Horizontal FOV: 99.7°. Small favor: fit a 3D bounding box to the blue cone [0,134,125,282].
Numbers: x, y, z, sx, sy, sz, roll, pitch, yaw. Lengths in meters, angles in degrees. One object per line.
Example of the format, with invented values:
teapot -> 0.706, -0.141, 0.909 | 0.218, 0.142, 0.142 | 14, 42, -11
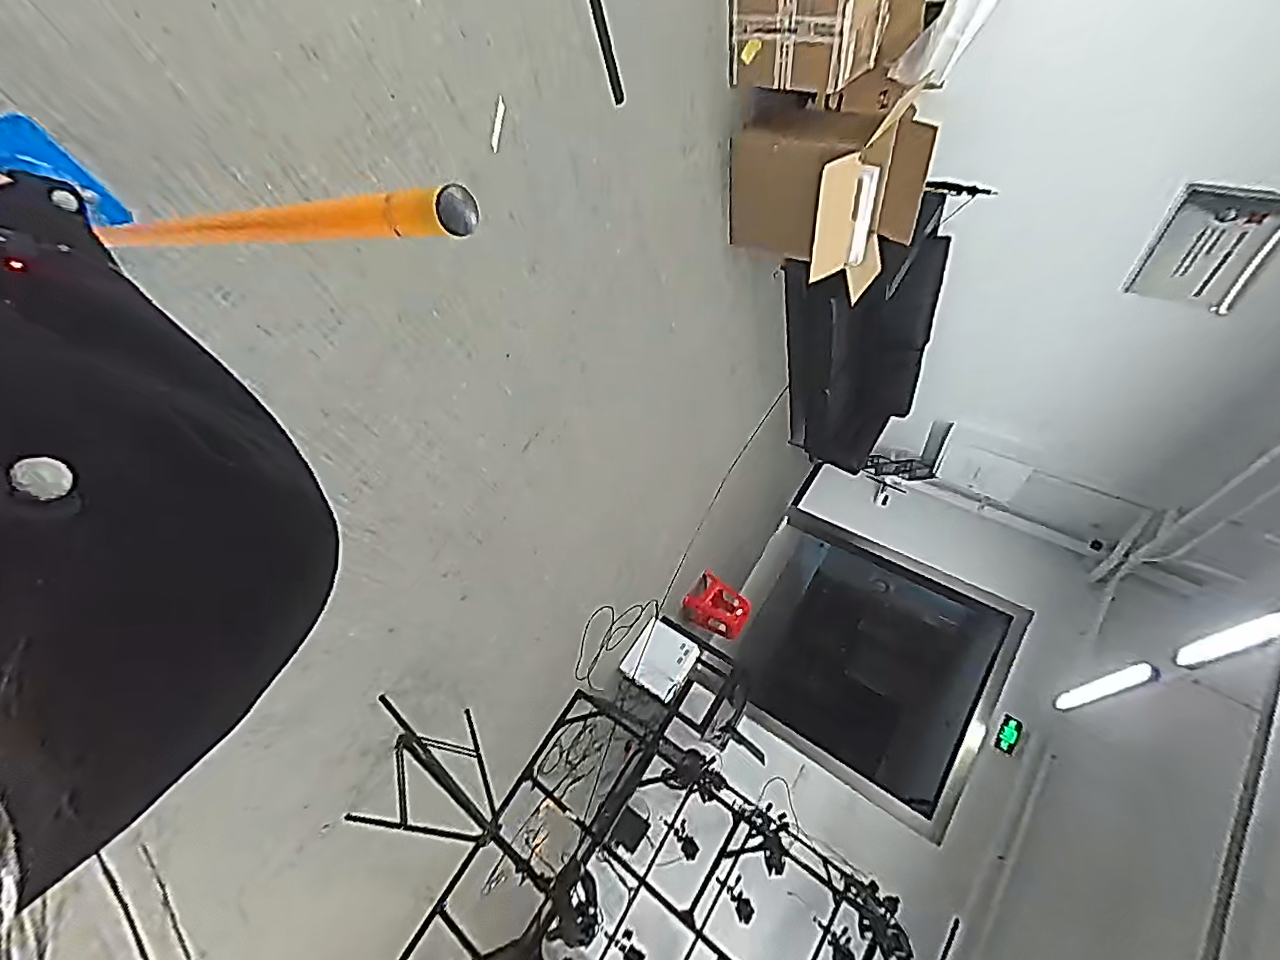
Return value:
blue cone -> -0.906, -0.394, 0.841 | 0.192, 0.380, 0.193 | -52, 150, -21
